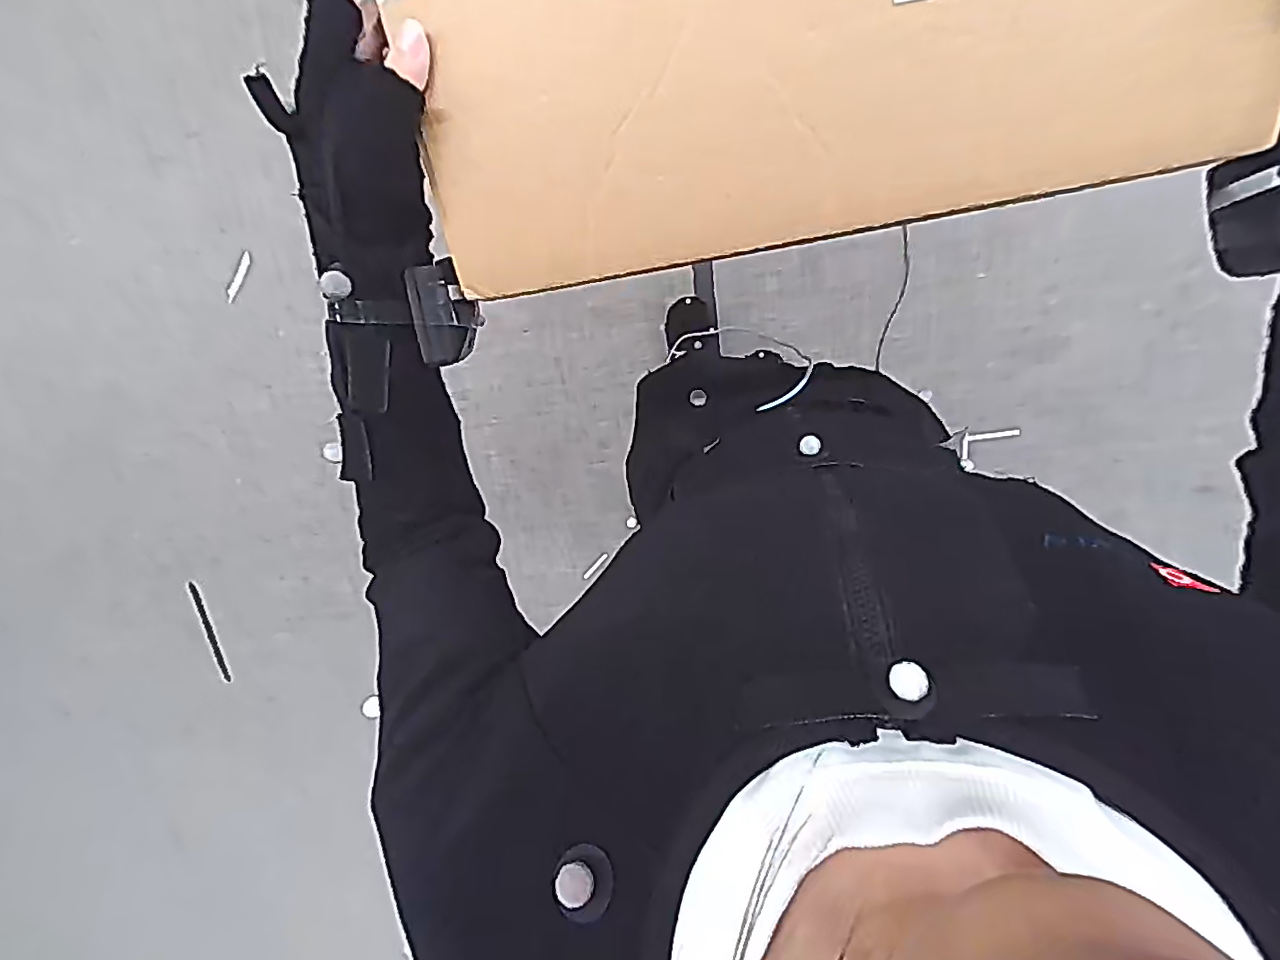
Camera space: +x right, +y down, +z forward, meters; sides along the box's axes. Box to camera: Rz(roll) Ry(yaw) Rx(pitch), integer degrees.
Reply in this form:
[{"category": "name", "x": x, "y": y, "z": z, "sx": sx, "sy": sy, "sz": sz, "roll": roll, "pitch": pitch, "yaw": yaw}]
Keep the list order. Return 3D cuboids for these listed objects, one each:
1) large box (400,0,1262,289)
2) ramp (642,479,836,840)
[{"category": "large box", "x": 0.083, "y": -0.339, "z": 0.379, "sx": 0.408, "sy": 0.320, "sz": 0.320, "roll": -7, "pitch": 112, "yaw": 10}, {"category": "ramp", "x": 0.270, "y": 0.503, "z": 1.499, "sx": 0.509, "sy": 0.206, "sz": 0.991, "roll": -4, "pitch": 104, "yaw": 12}]
